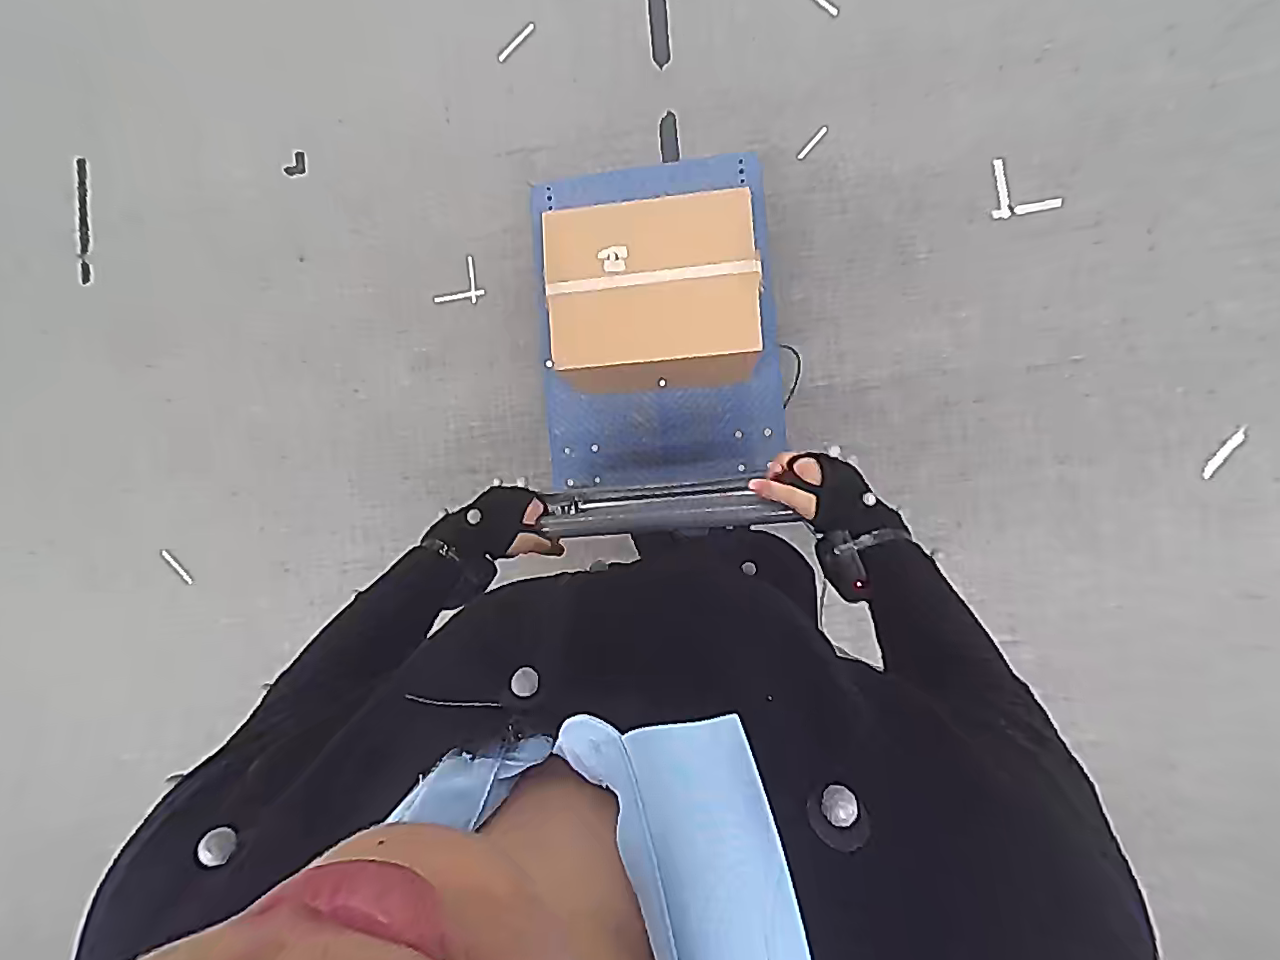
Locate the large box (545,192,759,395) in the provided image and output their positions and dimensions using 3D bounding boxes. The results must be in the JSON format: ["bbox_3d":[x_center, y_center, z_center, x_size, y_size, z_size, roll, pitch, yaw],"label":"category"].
[{"bbox_3d":[0.038,-0.381,1.202,0.408,0.320,0.320,-5,88,7],"label":"large box"}]
